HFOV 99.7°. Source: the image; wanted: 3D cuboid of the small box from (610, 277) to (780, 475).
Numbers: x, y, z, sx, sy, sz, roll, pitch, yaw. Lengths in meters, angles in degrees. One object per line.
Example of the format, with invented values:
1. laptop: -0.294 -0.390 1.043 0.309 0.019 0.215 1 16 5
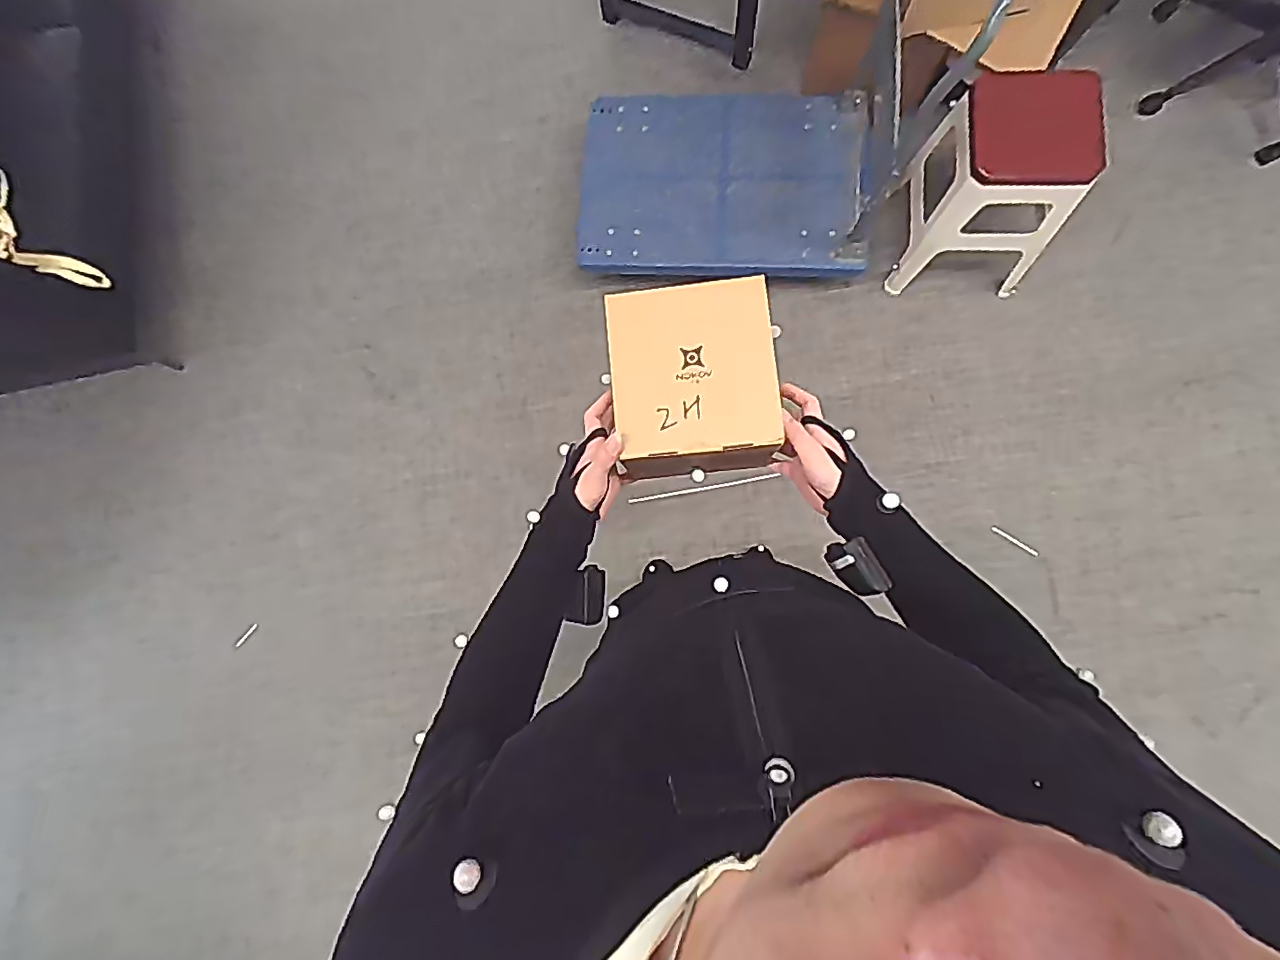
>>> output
1. small box: 0.059 -0.107 0.628 0.168 0.176 0.179 -5 83 5
